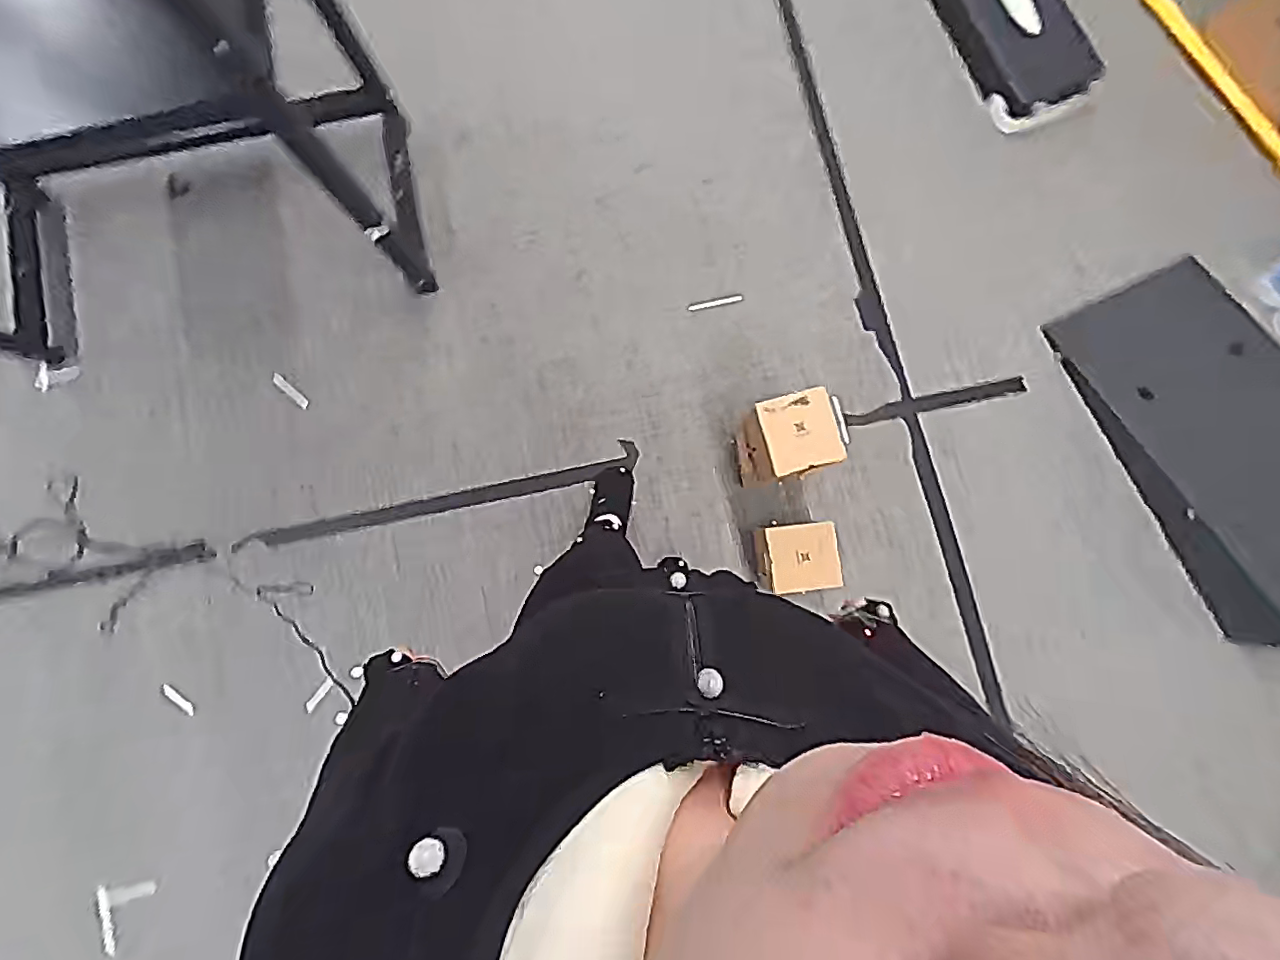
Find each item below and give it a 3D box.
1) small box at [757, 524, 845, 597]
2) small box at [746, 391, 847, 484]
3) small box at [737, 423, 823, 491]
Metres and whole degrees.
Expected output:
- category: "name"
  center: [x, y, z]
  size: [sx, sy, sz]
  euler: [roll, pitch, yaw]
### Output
- category: "small box"
  center: [0.410, 0.208, 1.410]
  size: [0.179, 0.176, 0.168]
  euler: [-7, 84, 0]
- category: "small box"
  center: [0.362, -0.092, 1.276]
  size: [0.168, 0.176, 0.179]
  euler: [-14, 85, -1]
- category: "small box"
  center: [0.363, -0.069, 1.439]
  size: [0.179, 0.176, 0.168]
  euler: [-10, 84, -1]
